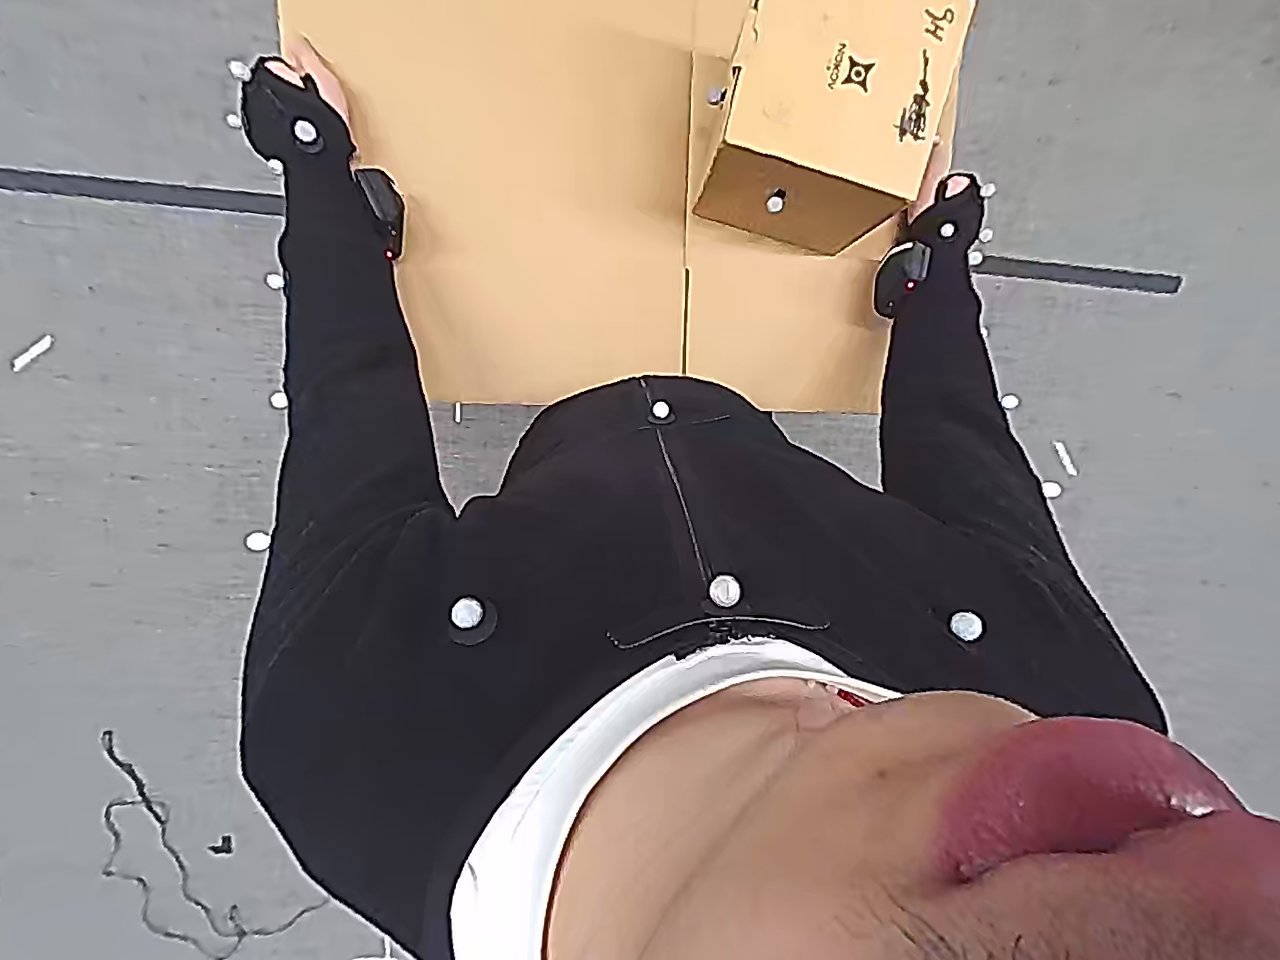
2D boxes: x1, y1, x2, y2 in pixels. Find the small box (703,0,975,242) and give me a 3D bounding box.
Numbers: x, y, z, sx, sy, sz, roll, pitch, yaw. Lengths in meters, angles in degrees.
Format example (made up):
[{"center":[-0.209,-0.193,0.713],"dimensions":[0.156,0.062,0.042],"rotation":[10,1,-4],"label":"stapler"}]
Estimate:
[{"center":[0.171,-0.355,0.527],"dimensions":[0.179,0.176,0.168],"rotation":[14,97,-4],"label":"small box"}]
